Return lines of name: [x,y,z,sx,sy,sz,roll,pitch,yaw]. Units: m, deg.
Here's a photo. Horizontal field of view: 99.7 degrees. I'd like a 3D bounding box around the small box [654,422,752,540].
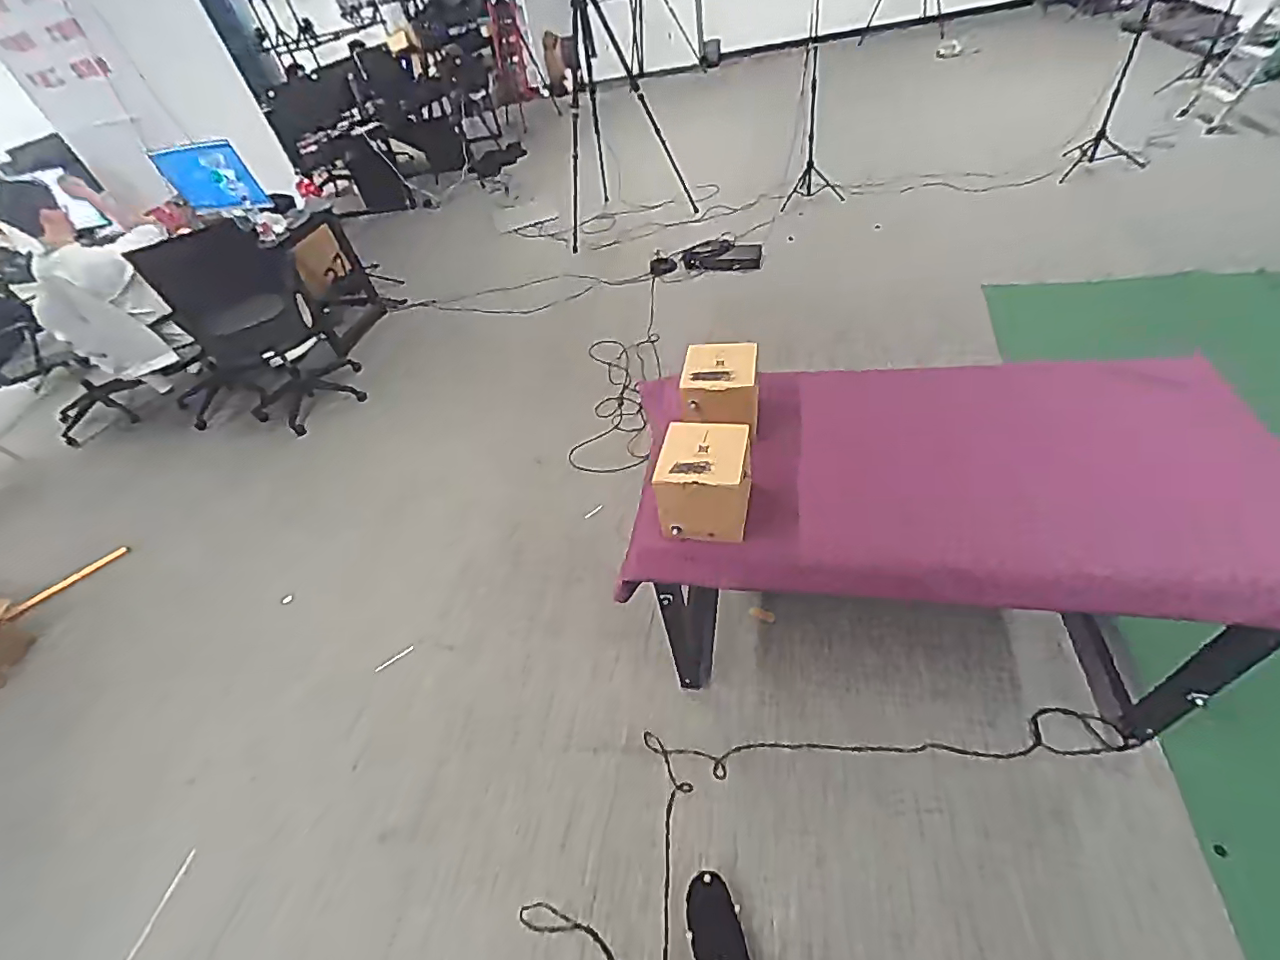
small box: [0.136,0.003,1.098,0.168,0.176,0.179,4,46,16]
